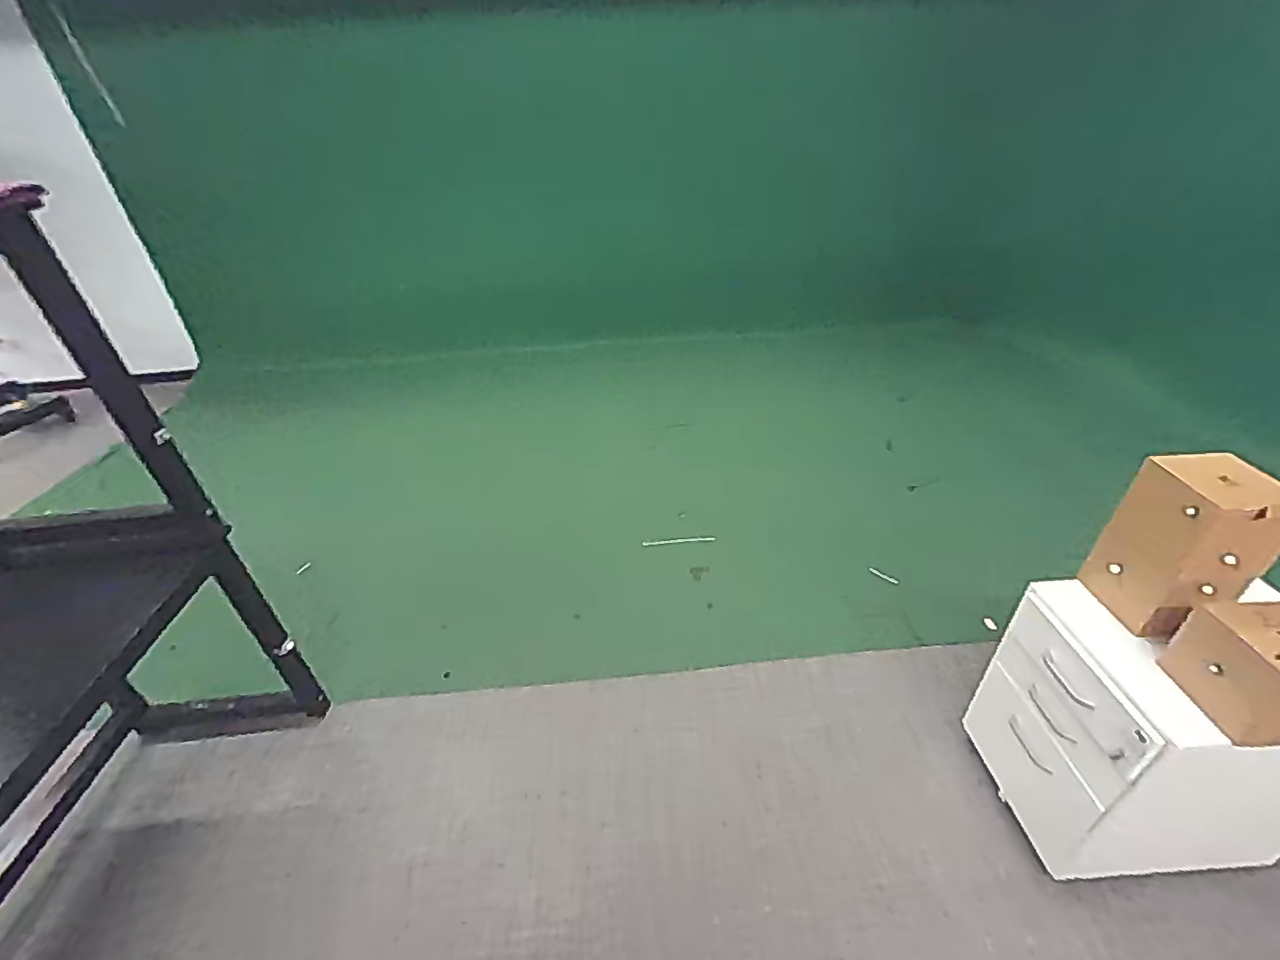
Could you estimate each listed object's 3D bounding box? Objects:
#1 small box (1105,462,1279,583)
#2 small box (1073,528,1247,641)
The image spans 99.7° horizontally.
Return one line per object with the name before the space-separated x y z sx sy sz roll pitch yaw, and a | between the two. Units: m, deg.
small box | 1.077 0.081 1.056 0.168 0.176 0.179 -2 36 0
small box | 1.081 0.217 1.147 0.168 0.176 0.179 -4 34 -1
